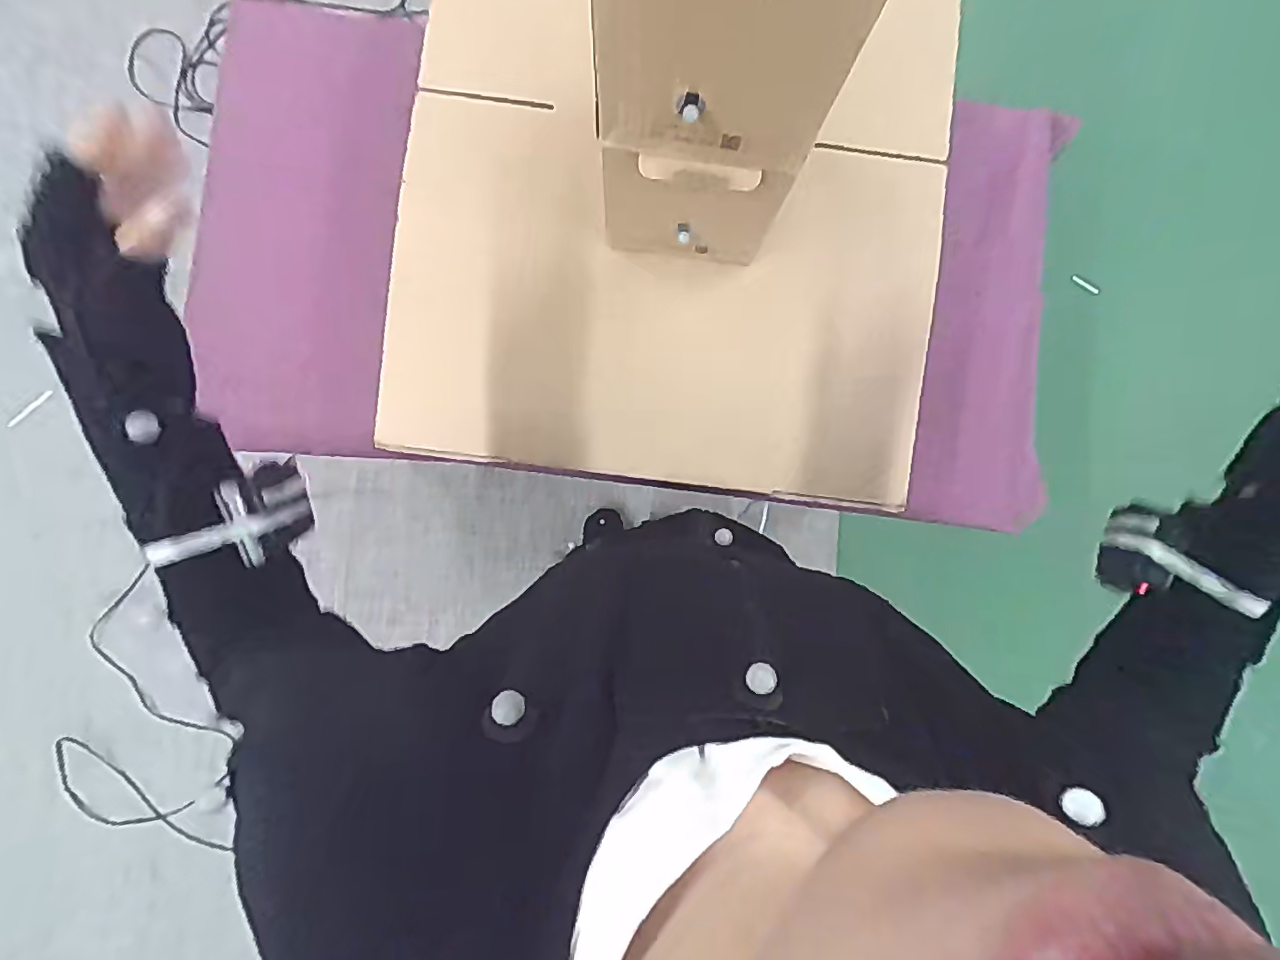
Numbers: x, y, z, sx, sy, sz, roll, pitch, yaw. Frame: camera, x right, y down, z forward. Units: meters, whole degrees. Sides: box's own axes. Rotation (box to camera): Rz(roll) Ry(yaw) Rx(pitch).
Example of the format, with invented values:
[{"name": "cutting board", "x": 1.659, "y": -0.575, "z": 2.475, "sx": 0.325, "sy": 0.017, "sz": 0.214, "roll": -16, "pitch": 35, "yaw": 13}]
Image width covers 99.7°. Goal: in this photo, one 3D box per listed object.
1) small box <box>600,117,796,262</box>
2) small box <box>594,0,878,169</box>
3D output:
[{"name": "small box", "x": 0.055, "y": -0.345, "z": 0.529, "sx": 0.168, "sy": 0.176, "sz": 0.179, "roll": 7, "pitch": 86, "yaw": -1}, {"name": "small box", "x": 0.060, "y": -0.355, "z": 0.367, "sx": 0.168, "sy": 0.176, "sz": 0.179, "roll": 7, "pitch": 86, "yaw": -2}]
